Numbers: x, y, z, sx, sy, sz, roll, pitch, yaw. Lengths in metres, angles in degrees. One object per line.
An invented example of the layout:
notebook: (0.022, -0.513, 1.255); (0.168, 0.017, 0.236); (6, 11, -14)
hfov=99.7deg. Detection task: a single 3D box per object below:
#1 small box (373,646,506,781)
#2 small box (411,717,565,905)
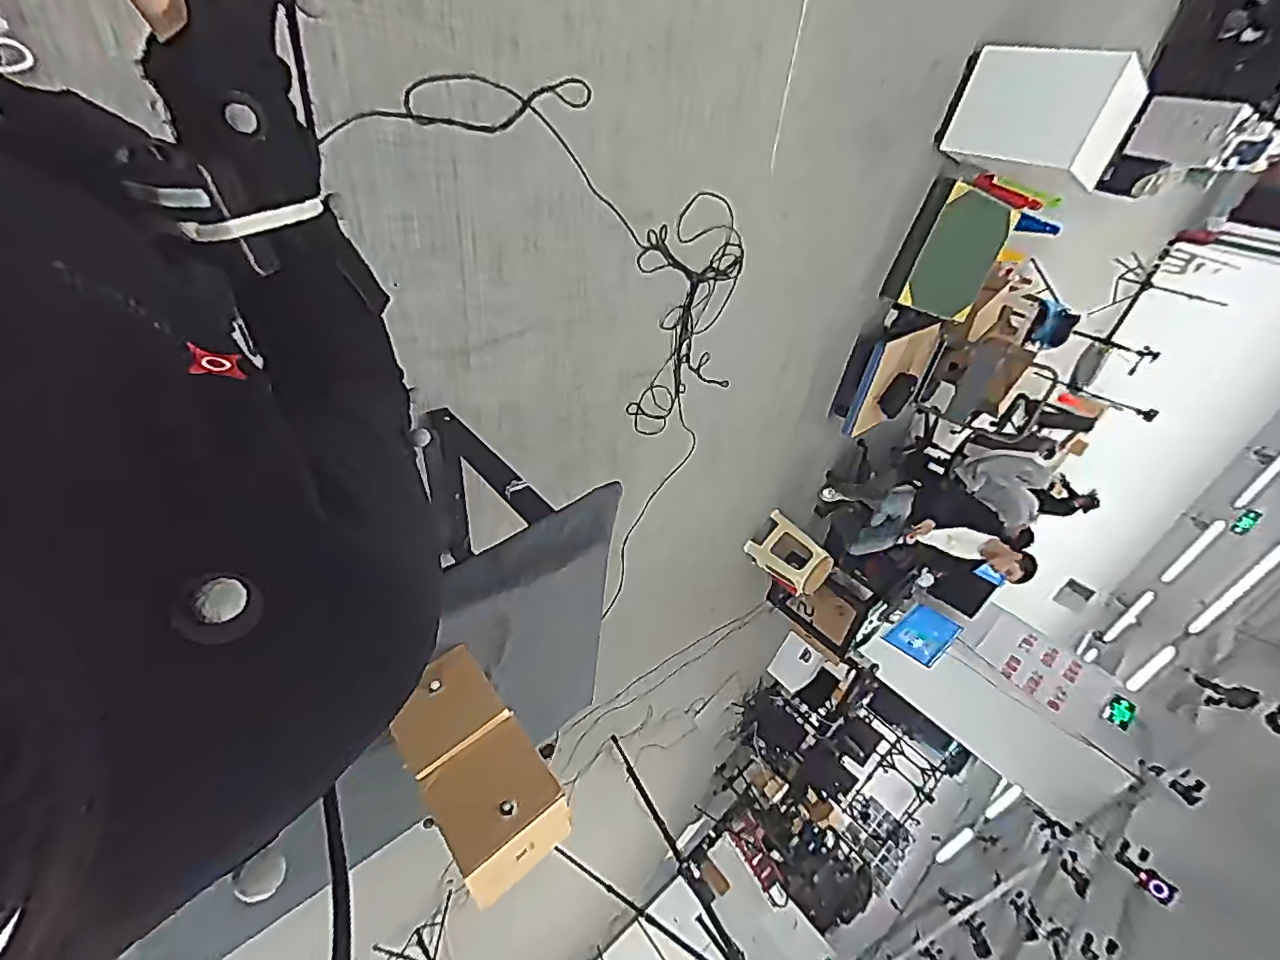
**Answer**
small box: (-0.346, 0.435, 0.971); (0.168, 0.176, 0.179); (-31, 140, -28)
small box: (-0.245, 0.532, 0.888); (0.179, 0.176, 0.168); (-27, 138, -31)
